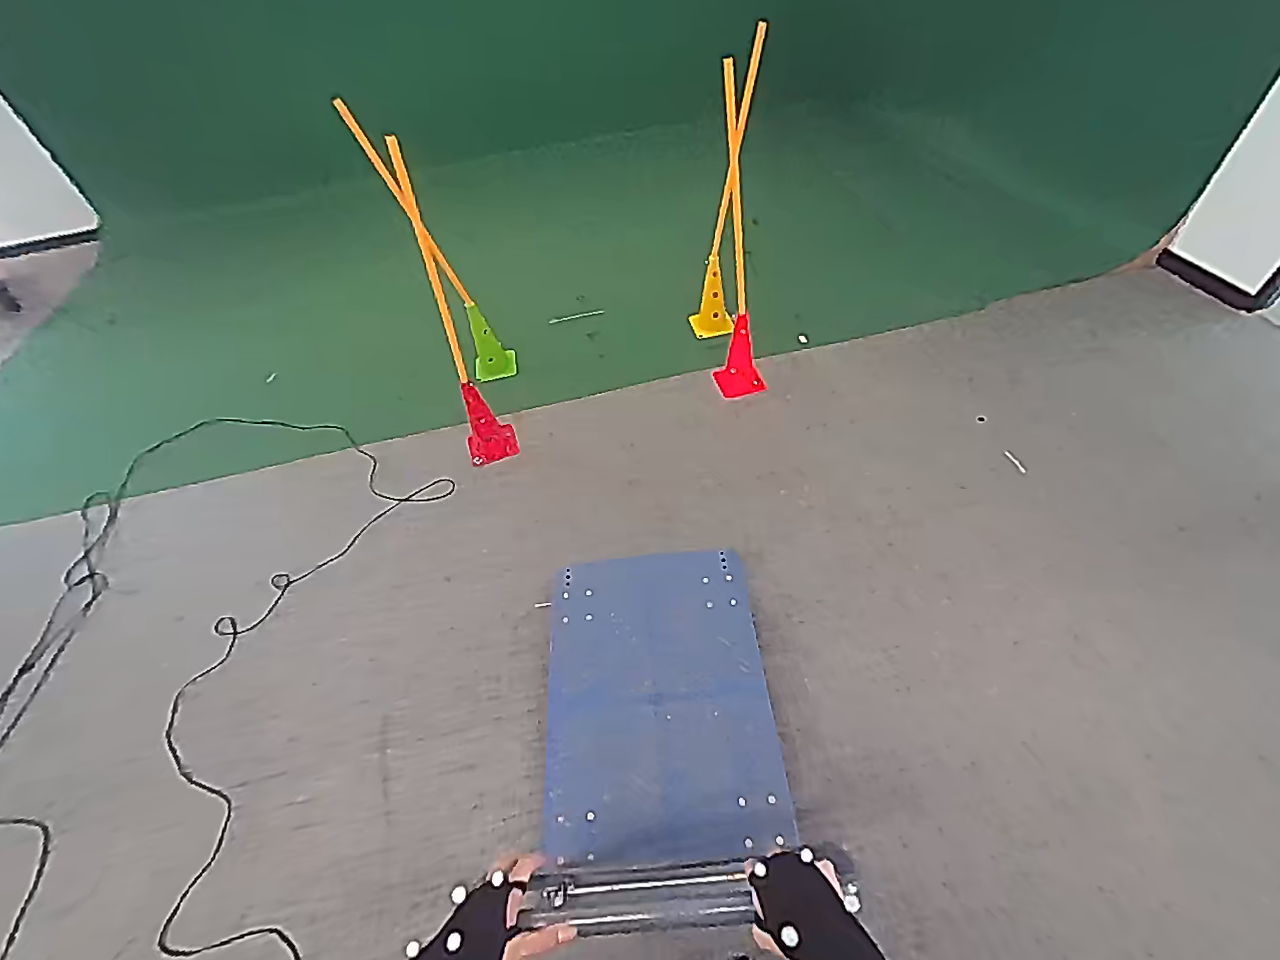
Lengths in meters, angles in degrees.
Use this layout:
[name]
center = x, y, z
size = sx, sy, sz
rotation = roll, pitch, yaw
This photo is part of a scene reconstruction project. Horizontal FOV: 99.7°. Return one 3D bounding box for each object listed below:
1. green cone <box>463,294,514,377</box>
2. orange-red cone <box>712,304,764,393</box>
[green cone]
center = -0.740, -0.693, 2.522
size = 0.200, 0.368, 0.202
rotation = -14, 49, -3
[orange-red cone]
center = 0.419, -0.574, 2.278
size = 0.198, 0.360, 0.199
rotation = -12, 48, -4
